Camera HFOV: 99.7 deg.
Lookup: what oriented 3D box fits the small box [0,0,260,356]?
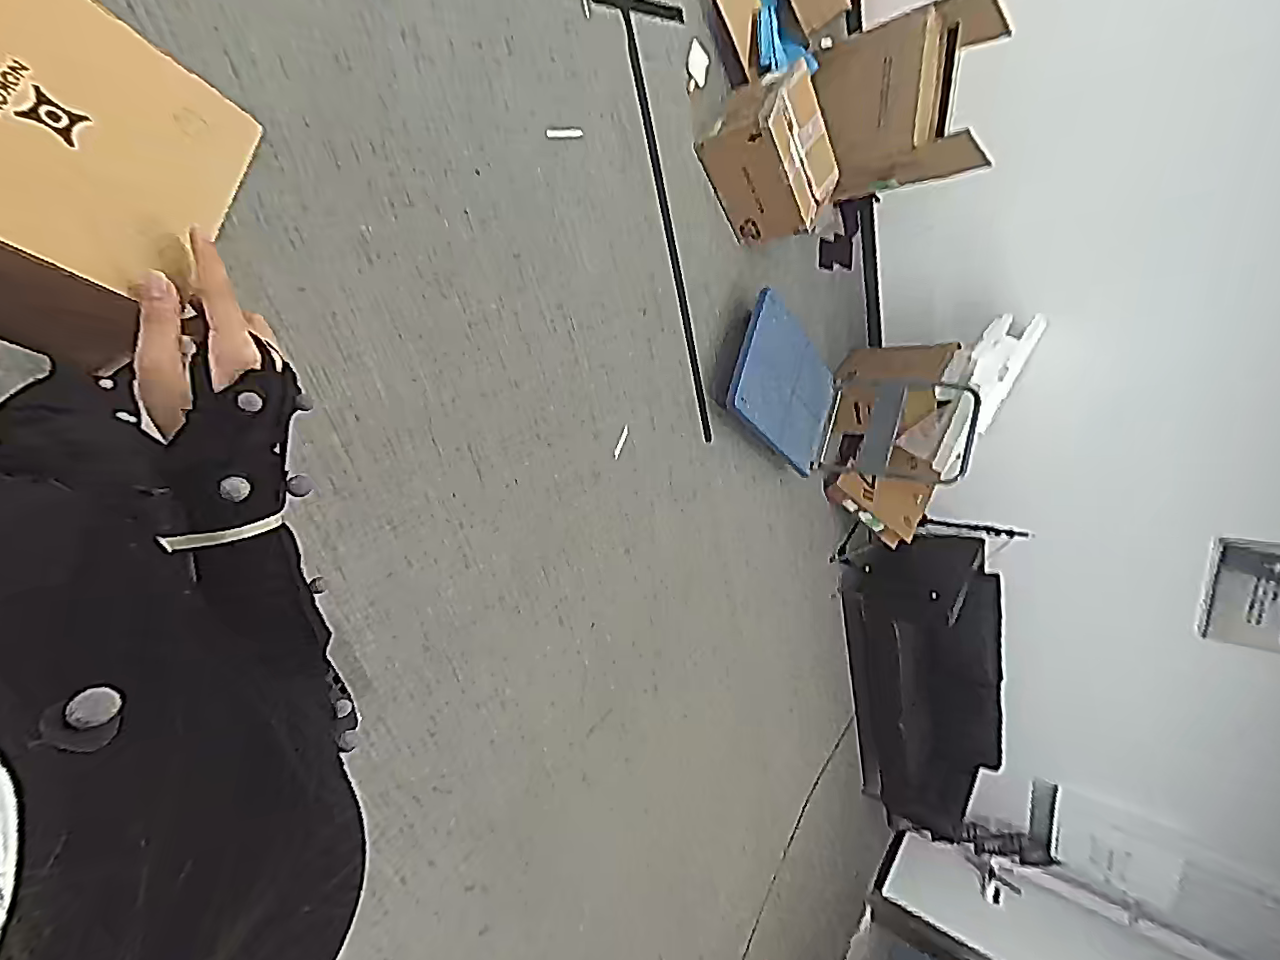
[{"bbox_3d":[-0.390,-0.194,0.337,0.179,0.176,0.168,28,62,-50],"label":"small box"}]
